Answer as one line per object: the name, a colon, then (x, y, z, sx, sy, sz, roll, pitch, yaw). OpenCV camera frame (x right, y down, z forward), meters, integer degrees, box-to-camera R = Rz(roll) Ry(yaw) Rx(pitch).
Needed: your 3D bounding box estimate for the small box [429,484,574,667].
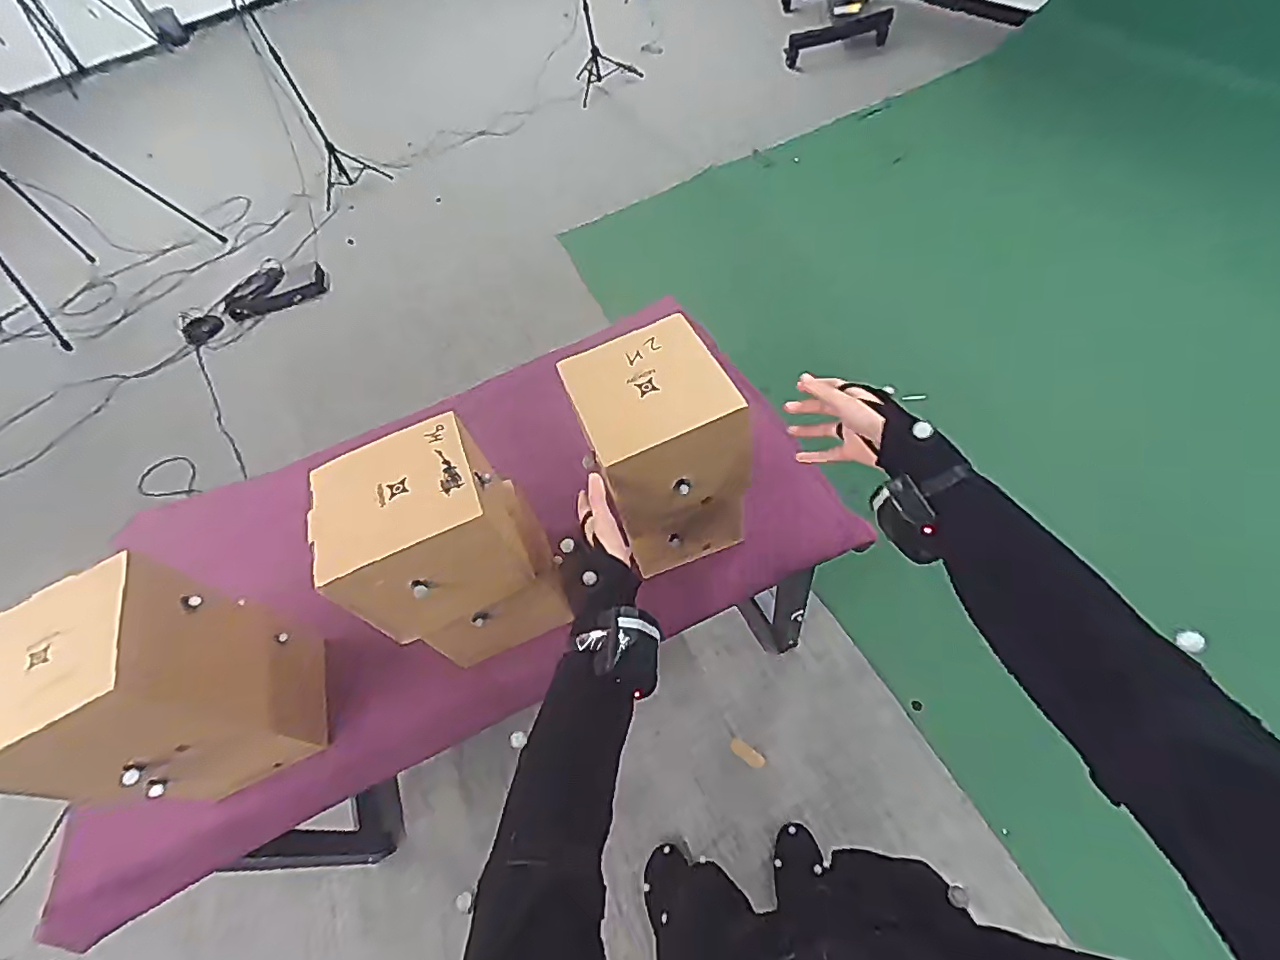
small box: (-0.215, 0.142, 0.775, 0.179, 0.176, 0.168, -23, 54, -6)

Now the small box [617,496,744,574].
small box: (0.048, 0.021, 0.807, 0.168, 0.176, 0.179, -21, 54, -2)

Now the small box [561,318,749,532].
small box: (0.024, -0.057, 0.662, 0.168, 0.176, 0.179, -23, 54, -5)

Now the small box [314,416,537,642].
small box: (-0.245, 0.063, 0.633, 0.179, 0.176, 0.168, -24, 54, -5)

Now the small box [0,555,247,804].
small box: (-0.568, 0.220, 0.588, 0.168, 0.176, 0.179, -29, 54, -9)
